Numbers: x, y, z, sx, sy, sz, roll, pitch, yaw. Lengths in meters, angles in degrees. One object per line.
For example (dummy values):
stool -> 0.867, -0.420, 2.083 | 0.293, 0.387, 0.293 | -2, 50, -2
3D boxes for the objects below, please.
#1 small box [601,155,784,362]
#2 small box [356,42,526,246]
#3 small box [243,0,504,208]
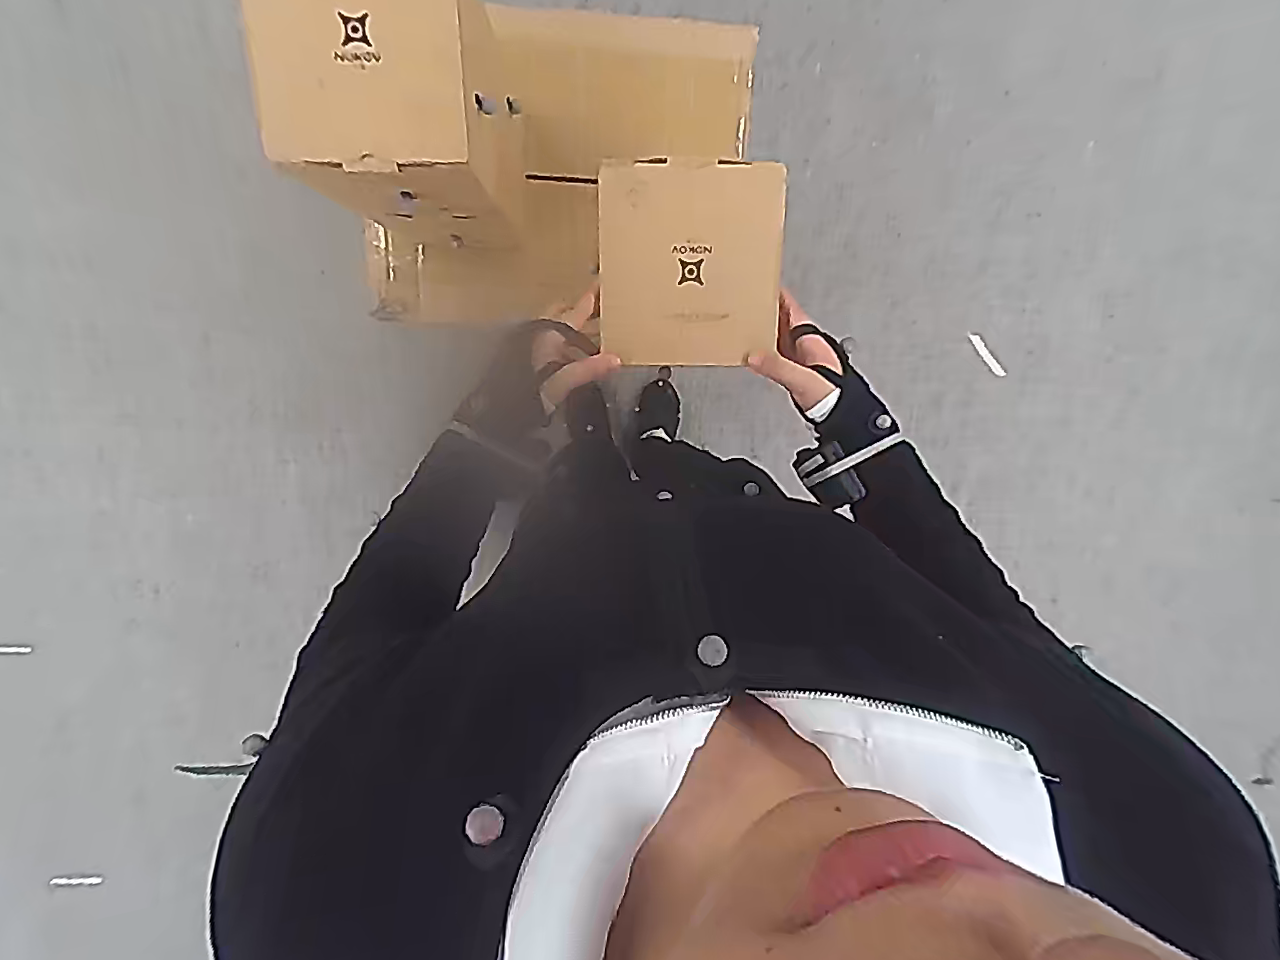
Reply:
small box -> 0.043, -0.215, 0.566 | 0.168, 0.176, 0.179 | -1, 104, -1
small box -> -0.236, -0.400, 0.664 | 0.168, 0.176, 0.179 | 0, 104, -4
small box -> -0.228, -0.364, 0.504 | 0.168, 0.176, 0.179 | -1, 104, -3
